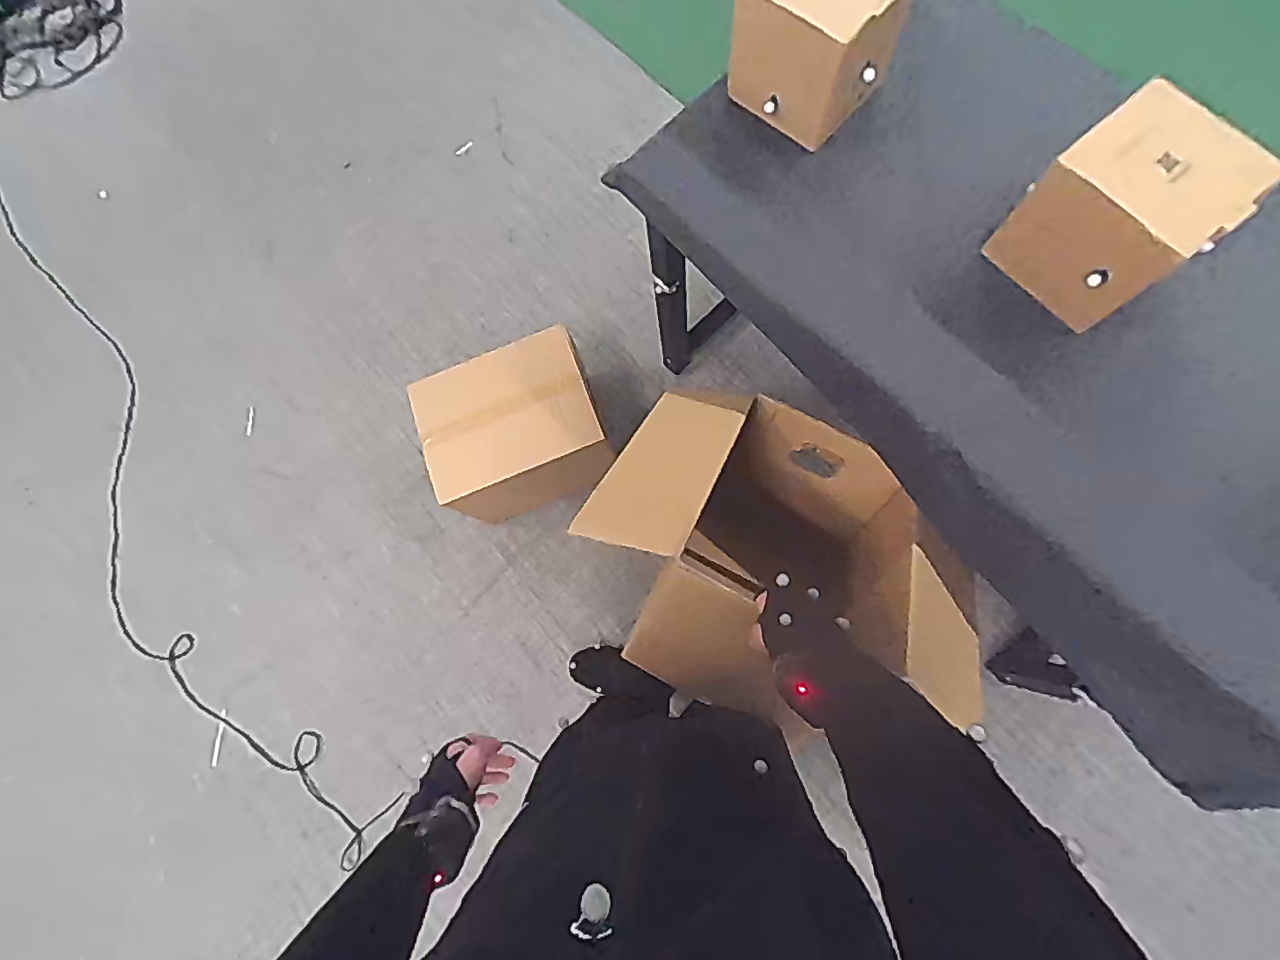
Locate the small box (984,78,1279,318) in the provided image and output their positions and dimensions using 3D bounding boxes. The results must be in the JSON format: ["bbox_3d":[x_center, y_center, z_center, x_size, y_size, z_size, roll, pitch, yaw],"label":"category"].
[{"bbox_3d":[0.586,-0.328,0.669,0.168,0.176,0.179,-39,76,-5],"label":"small box"}]

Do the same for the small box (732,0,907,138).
[{"bbox_3d":[0.251,-0.632,0.764,0.179,0.176,0.168,42,84,11],"label":"small box"}]
